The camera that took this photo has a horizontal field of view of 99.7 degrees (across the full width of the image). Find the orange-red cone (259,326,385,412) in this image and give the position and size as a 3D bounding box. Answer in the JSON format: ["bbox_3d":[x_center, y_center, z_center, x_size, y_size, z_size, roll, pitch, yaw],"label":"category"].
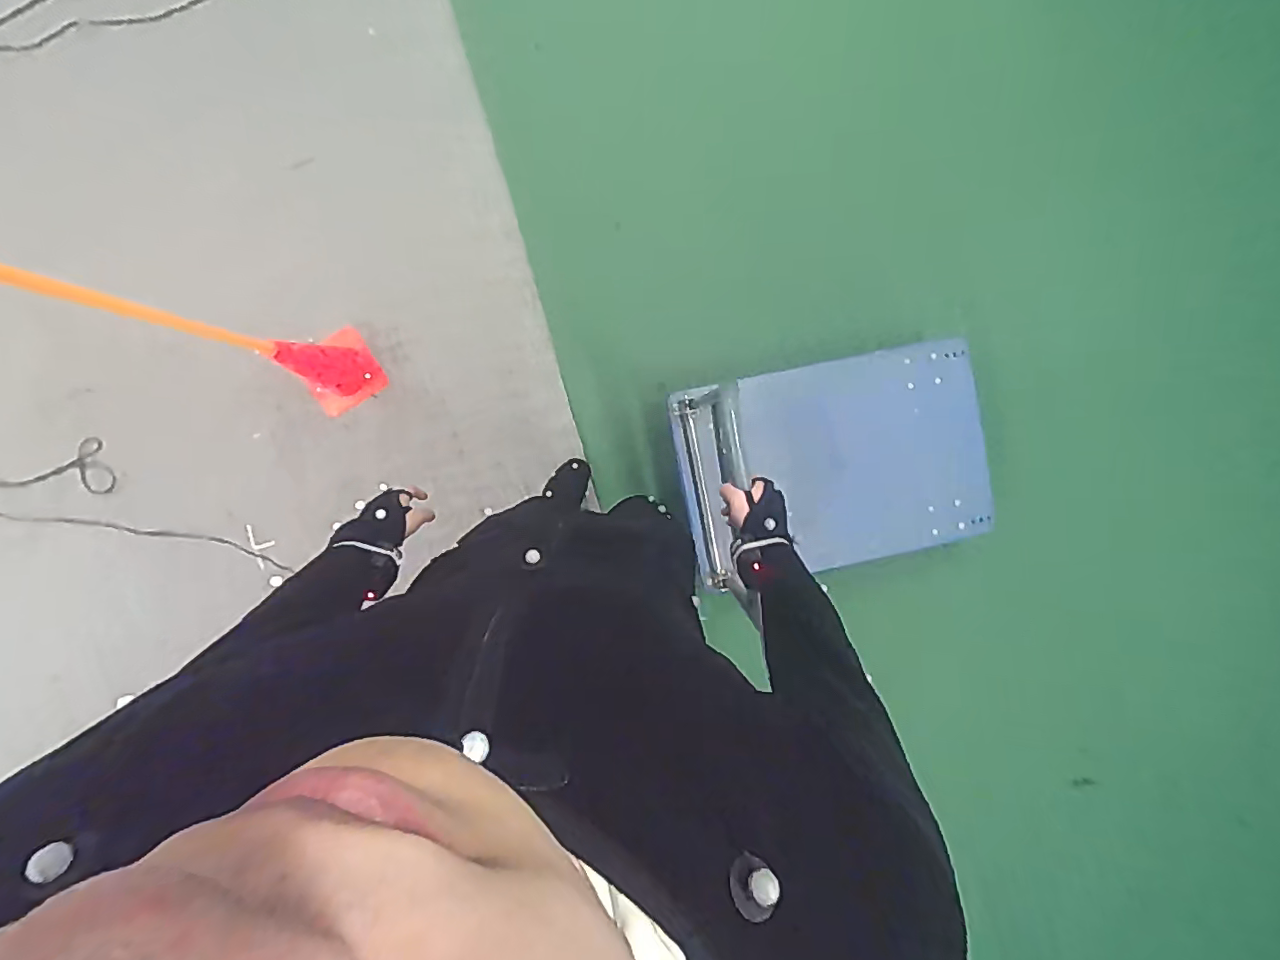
[{"bbox_3d":[-0.842,-0.310,1.372,0.198,0.360,0.199,-31,94,-3],"label":"orange-red cone"}]
